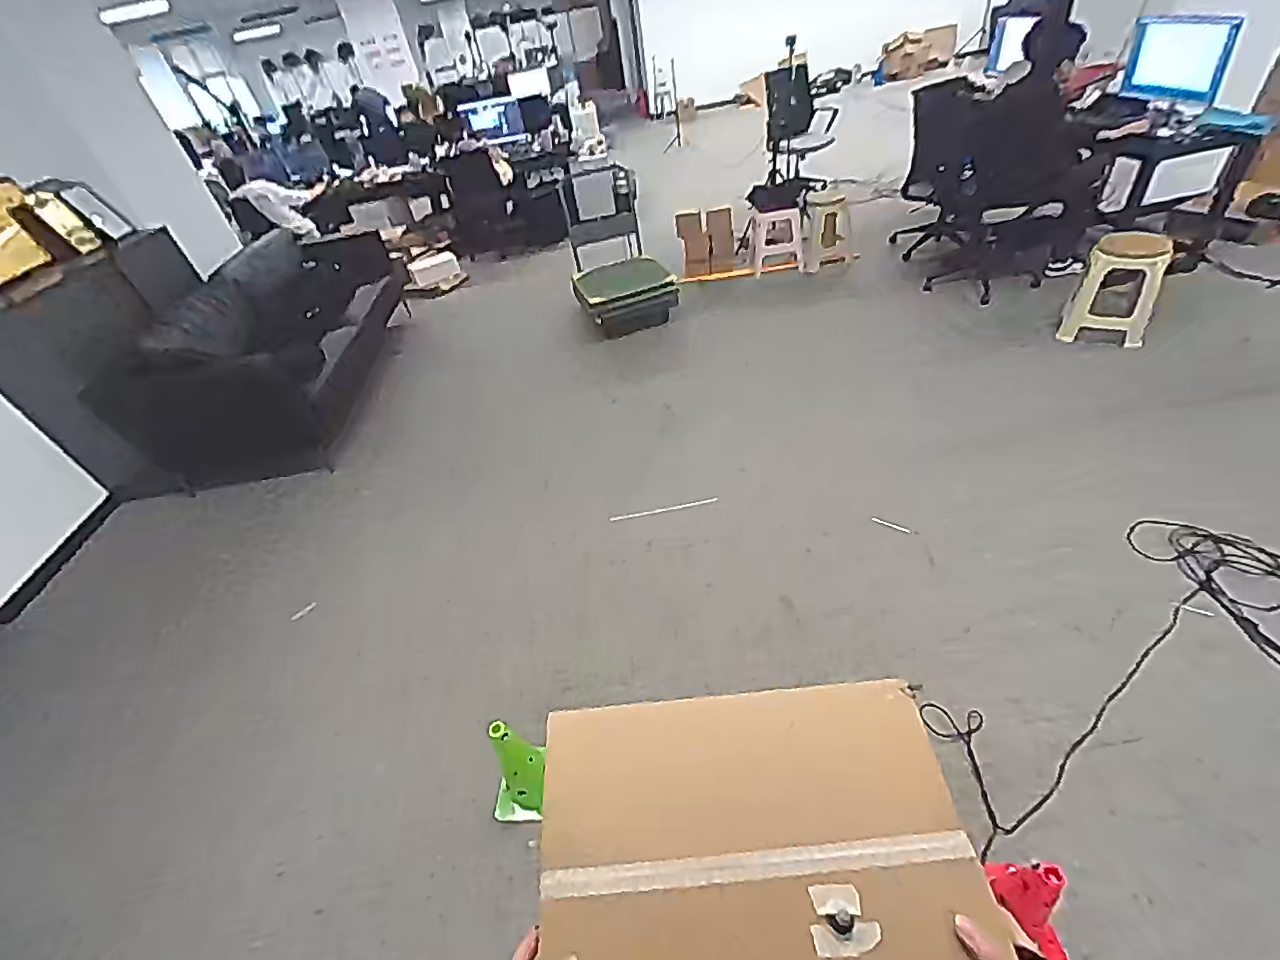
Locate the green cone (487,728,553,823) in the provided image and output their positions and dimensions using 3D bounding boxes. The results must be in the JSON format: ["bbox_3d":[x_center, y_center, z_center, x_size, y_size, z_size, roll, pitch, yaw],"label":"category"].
[{"bbox_3d":[-0.340,0.766,1.475,0.200,0.368,0.202,-7,42,6],"label":"green cone"}]

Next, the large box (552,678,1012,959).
[{"bbox_3d":[0.122,0.461,0.629,0.408,0.320,0.320,-6,50,0],"label":"large box"}]
